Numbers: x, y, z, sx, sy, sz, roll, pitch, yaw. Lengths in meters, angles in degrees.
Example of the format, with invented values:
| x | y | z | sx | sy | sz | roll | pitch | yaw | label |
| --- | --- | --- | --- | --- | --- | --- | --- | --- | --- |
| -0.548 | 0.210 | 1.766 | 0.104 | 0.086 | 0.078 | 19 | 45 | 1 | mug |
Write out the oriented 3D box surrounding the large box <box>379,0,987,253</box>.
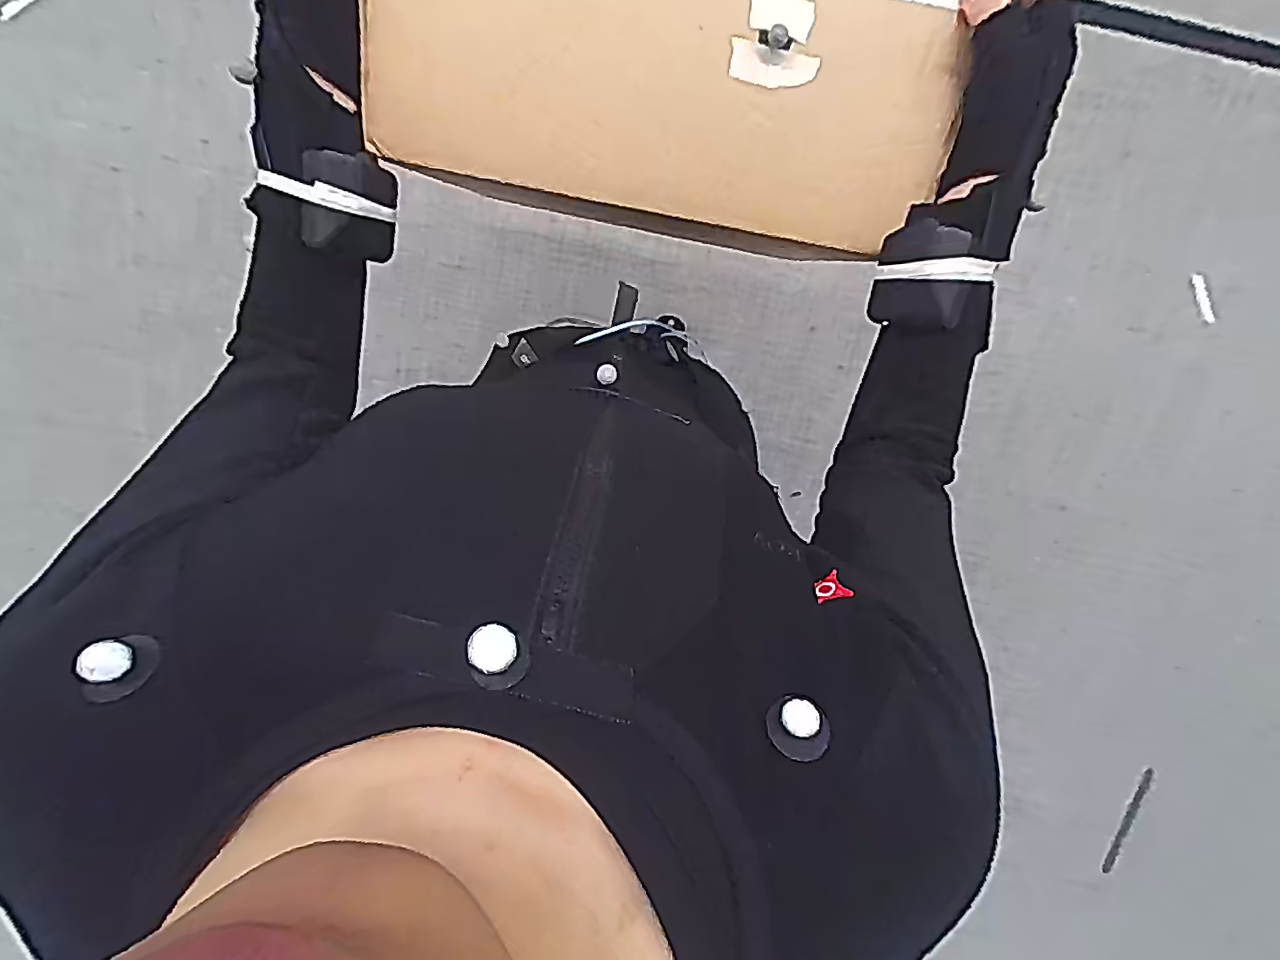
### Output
| x | y | z | sx | sy | sz | roll | pitch | yaw | label |
| --- | --- | --- | --- | --- | --- | --- | --- | --- | --- |
| 0.031 | -0.400 | 0.483 | 0.408 | 0.320 | 0.320 | 9 | 113 | -4 | large box |
